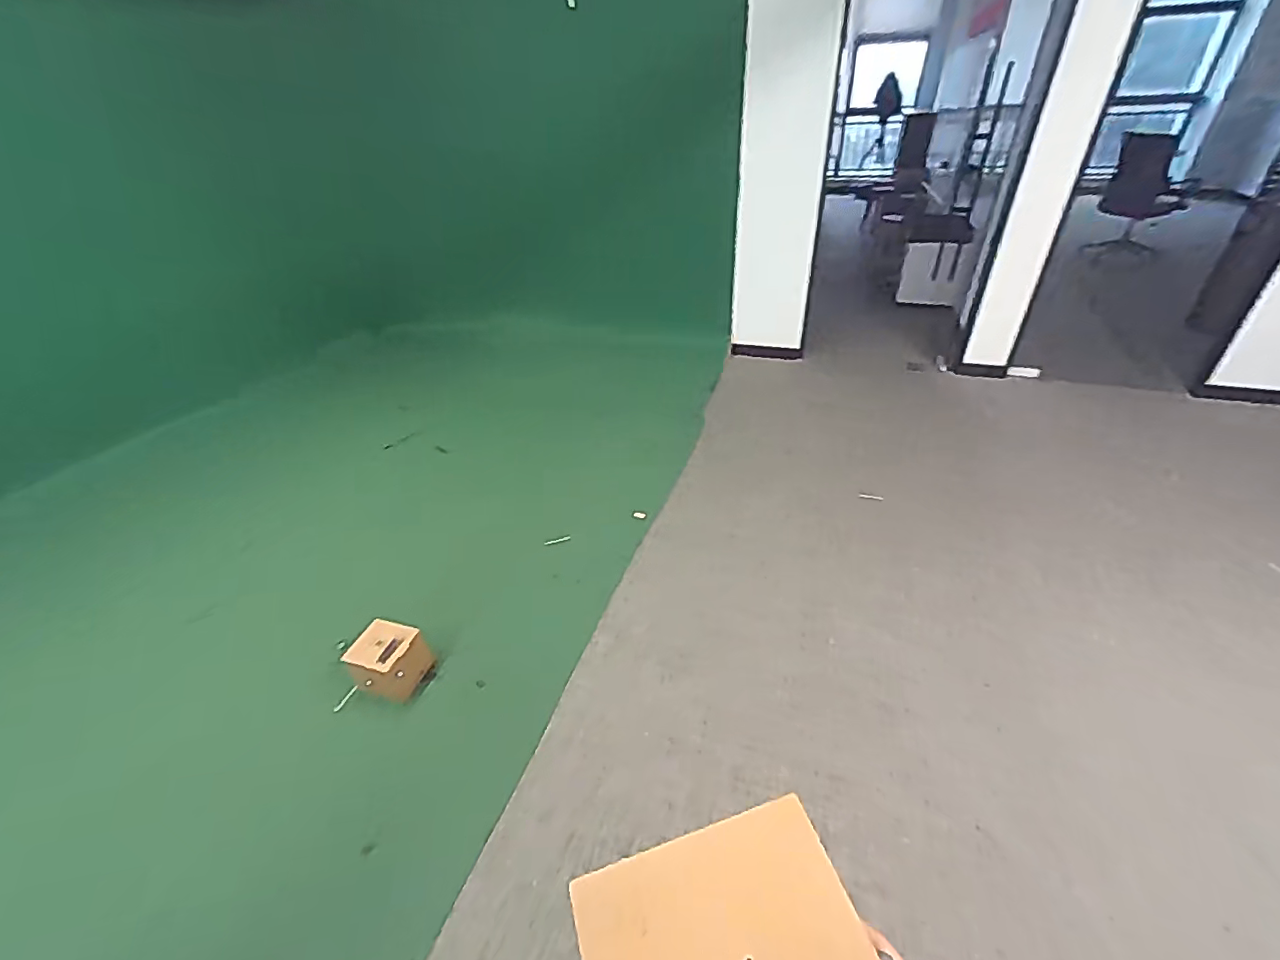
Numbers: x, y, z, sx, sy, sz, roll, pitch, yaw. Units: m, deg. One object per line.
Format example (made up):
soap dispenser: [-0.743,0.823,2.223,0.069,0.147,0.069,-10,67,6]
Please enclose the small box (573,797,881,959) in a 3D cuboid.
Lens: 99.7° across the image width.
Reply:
small box: [0.061,0.350,0.345,0.168,0.176,0.179,-14,40,-12]
